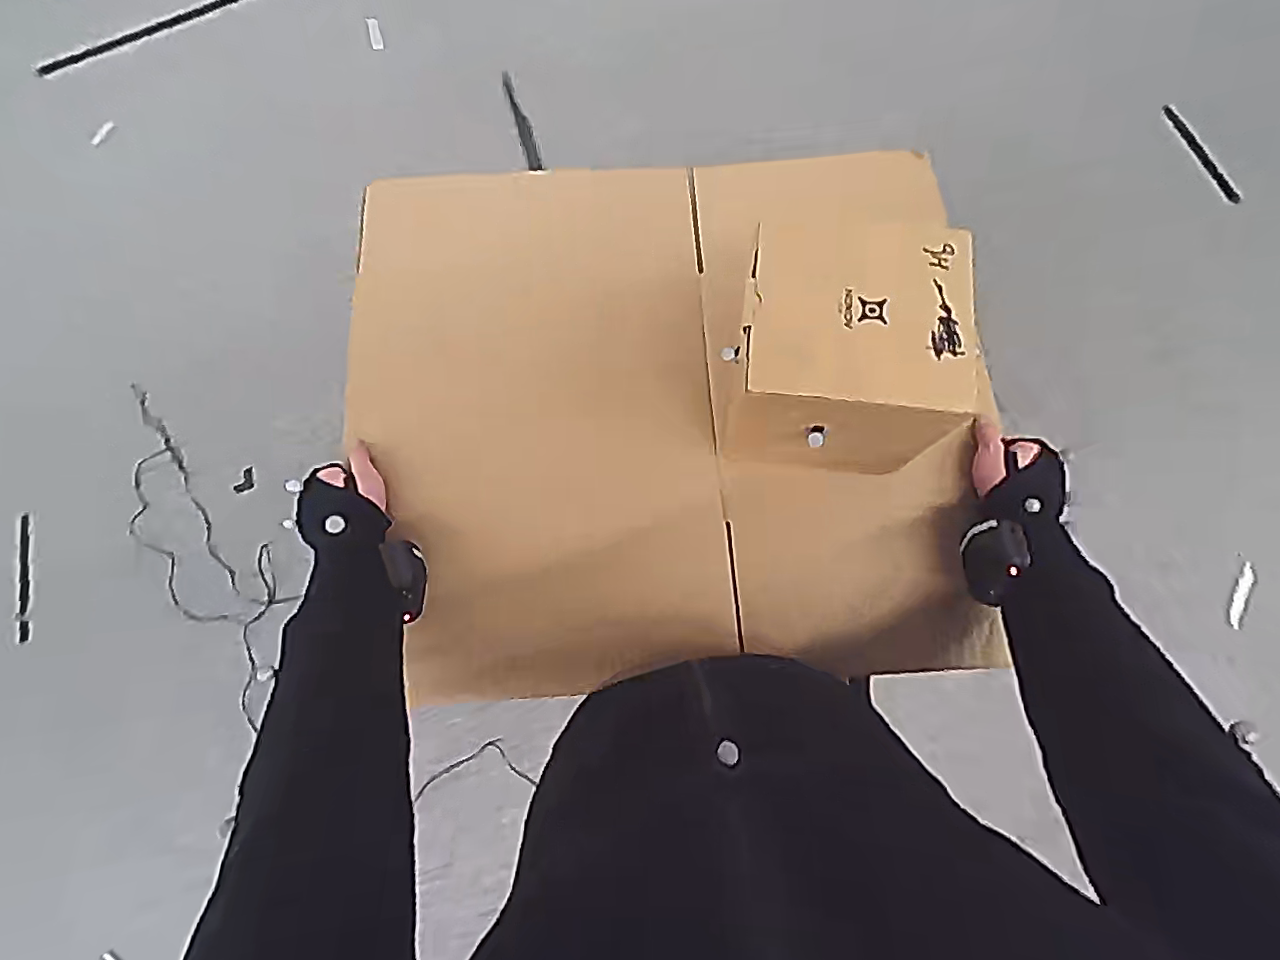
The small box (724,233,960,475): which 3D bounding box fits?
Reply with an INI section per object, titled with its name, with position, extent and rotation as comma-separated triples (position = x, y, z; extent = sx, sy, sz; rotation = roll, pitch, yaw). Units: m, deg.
[small box]
position = 0.177, -0.109, 0.522
extent = 0.179, 0.176, 0.168
rotation = 5, 75, 6
